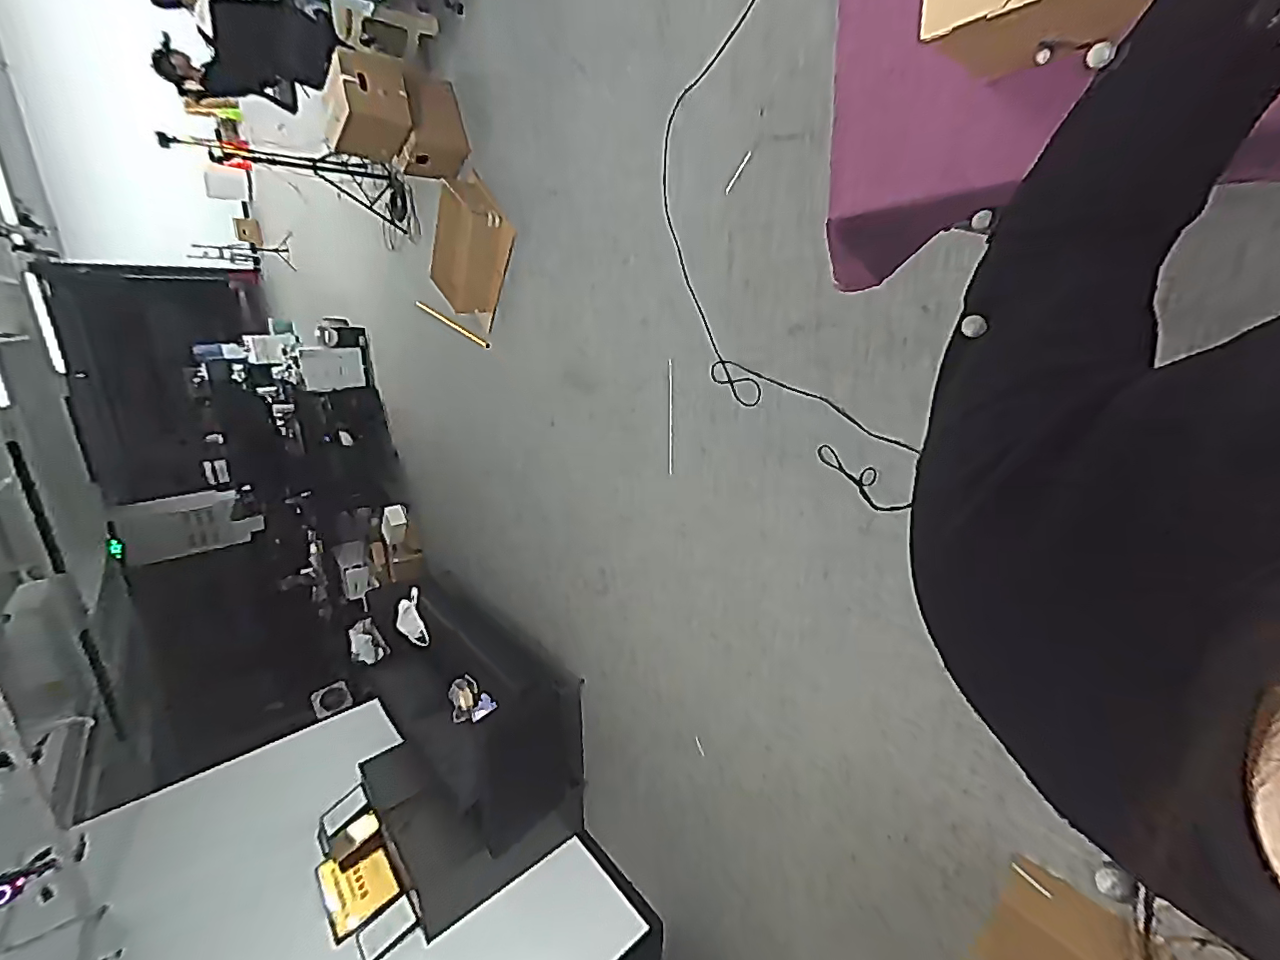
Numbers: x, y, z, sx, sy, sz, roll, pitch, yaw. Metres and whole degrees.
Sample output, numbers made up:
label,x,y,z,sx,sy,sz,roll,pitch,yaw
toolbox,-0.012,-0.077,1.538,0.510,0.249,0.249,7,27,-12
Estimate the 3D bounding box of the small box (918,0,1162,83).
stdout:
label,x,y,z,sx,sy,sz,roll,pitch,yaw
small box,0.398,-0.528,0.522,0.168,0.176,0.179,17,114,47
